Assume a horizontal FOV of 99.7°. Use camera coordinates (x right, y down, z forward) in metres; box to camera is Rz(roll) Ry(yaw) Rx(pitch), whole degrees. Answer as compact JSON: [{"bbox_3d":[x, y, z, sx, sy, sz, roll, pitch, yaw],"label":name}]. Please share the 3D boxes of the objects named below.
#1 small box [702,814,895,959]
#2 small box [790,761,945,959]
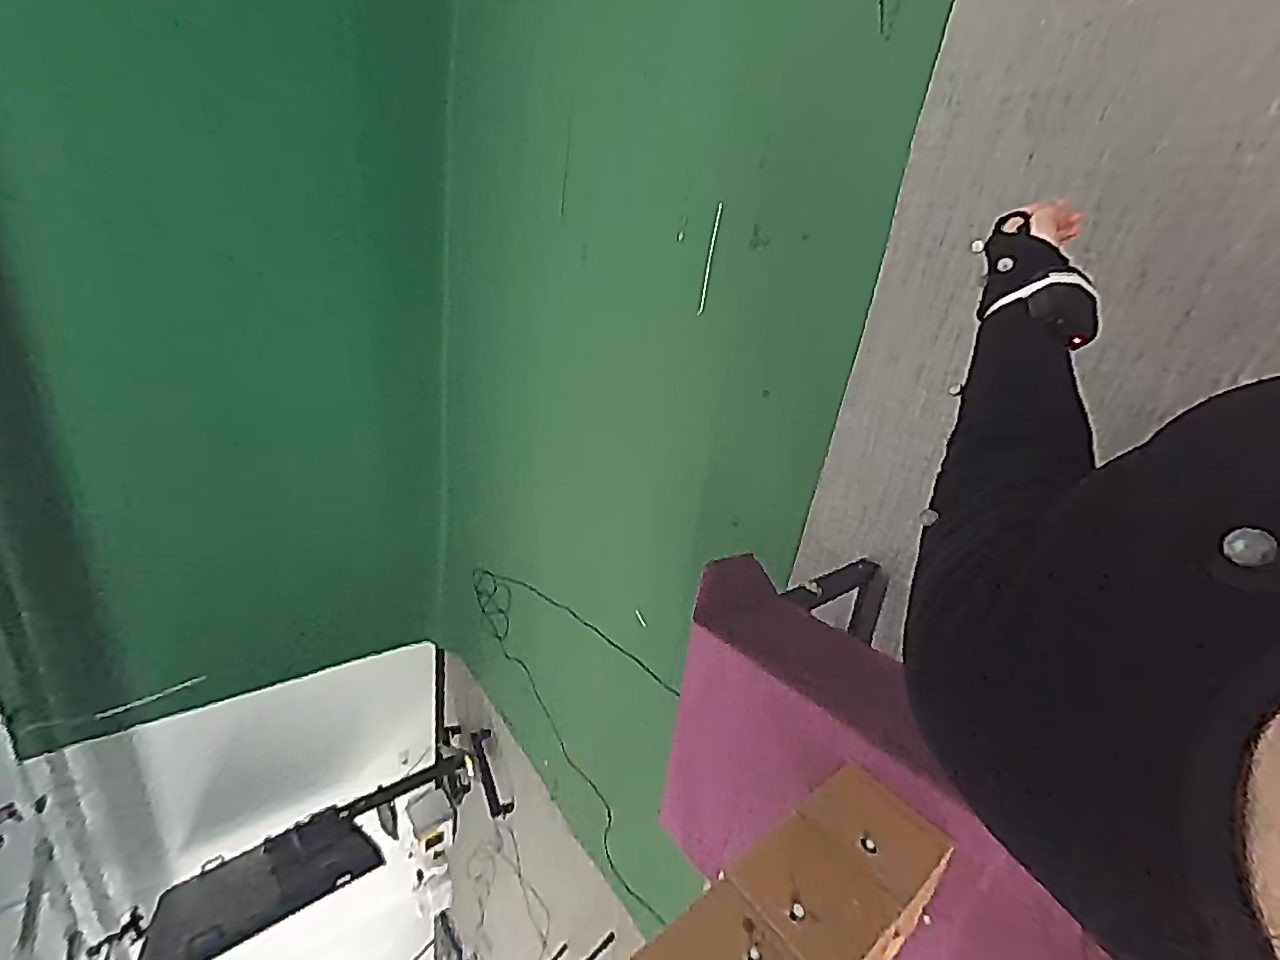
[{"bbox_3d":[0.216,0.607,0.752,0.179,0.176,0.168,27,117,44],"label":"small box"},{"bbox_3d":[0.344,0.588,0.852,0.179,0.176,0.168,29,119,45],"label":"small box"}]
